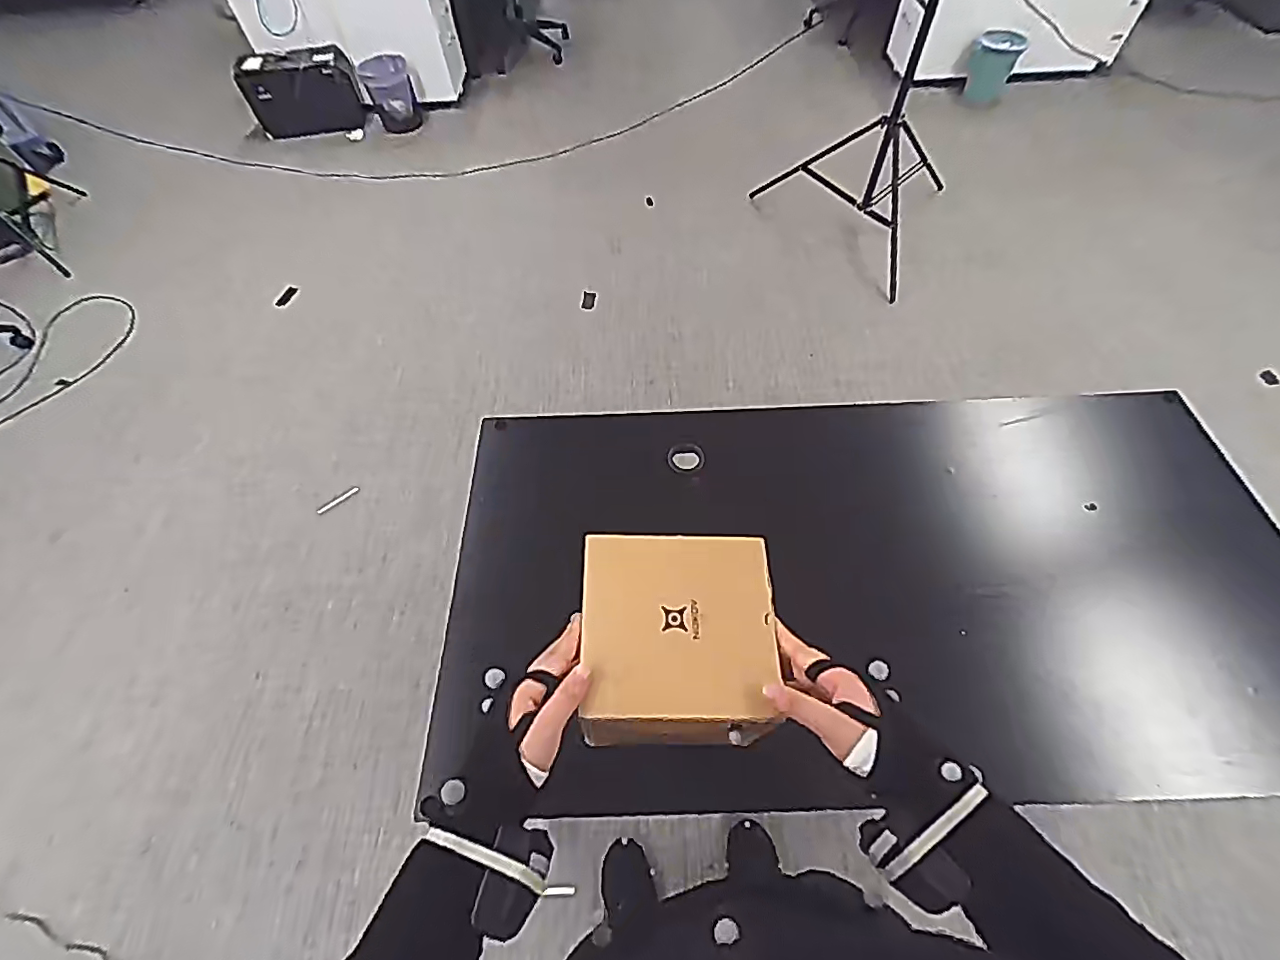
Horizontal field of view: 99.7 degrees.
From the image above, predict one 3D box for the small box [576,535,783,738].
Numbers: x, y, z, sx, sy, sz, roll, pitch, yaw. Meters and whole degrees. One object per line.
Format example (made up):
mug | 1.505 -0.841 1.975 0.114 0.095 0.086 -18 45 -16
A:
small box | 0.031 0.167 0.557 0.179 0.176 0.168 1 58 -3
